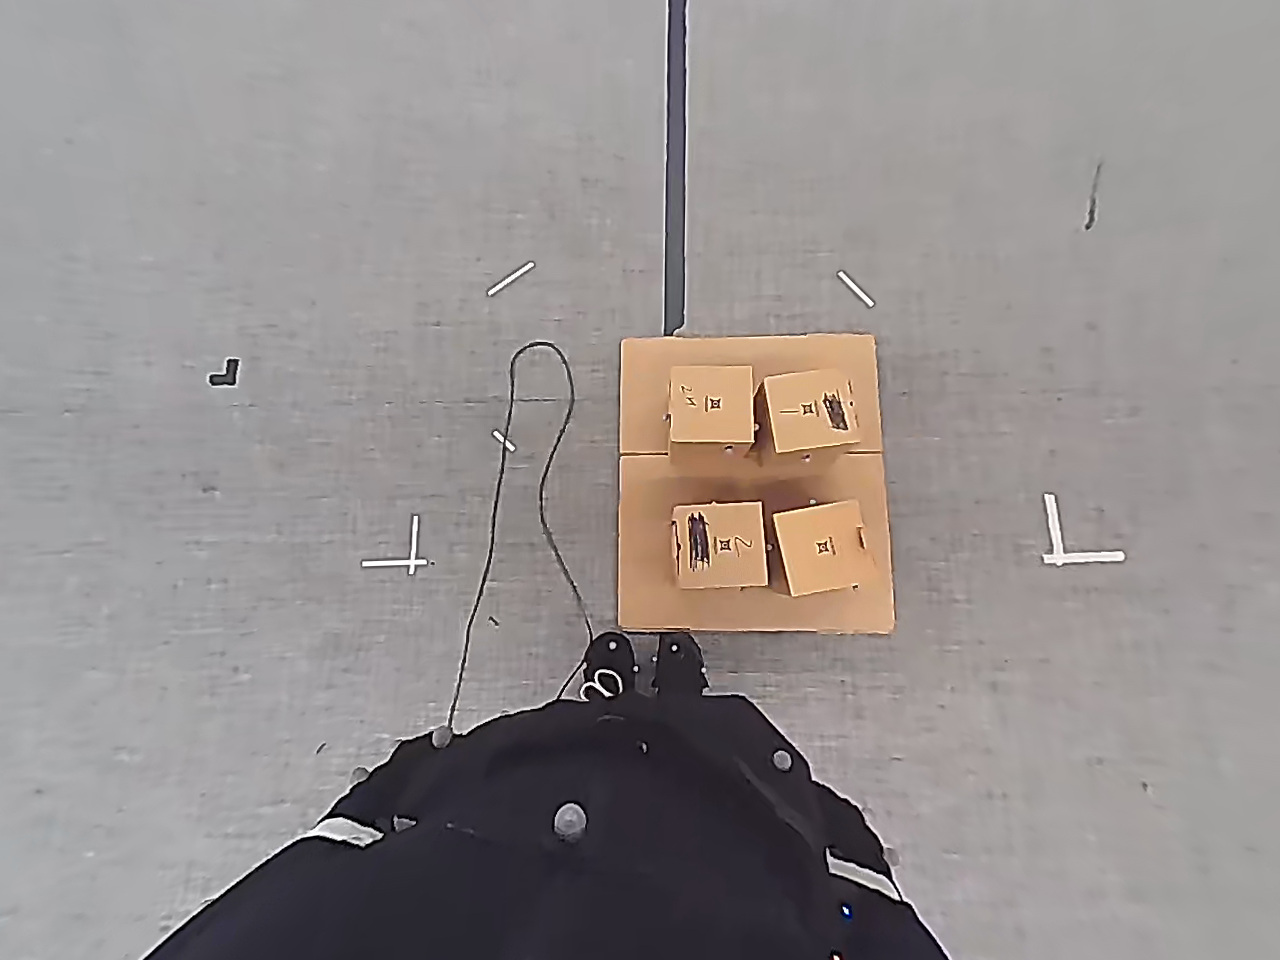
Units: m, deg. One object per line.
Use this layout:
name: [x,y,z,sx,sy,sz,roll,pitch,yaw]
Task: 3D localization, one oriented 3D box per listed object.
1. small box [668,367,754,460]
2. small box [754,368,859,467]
small box: [0.153,-0.143,1.207,0.179,0.176,0.168,1,80,3]
small box: [0.356,-0.131,1.193,0.179,0.176,0.168,-7,80,2]
